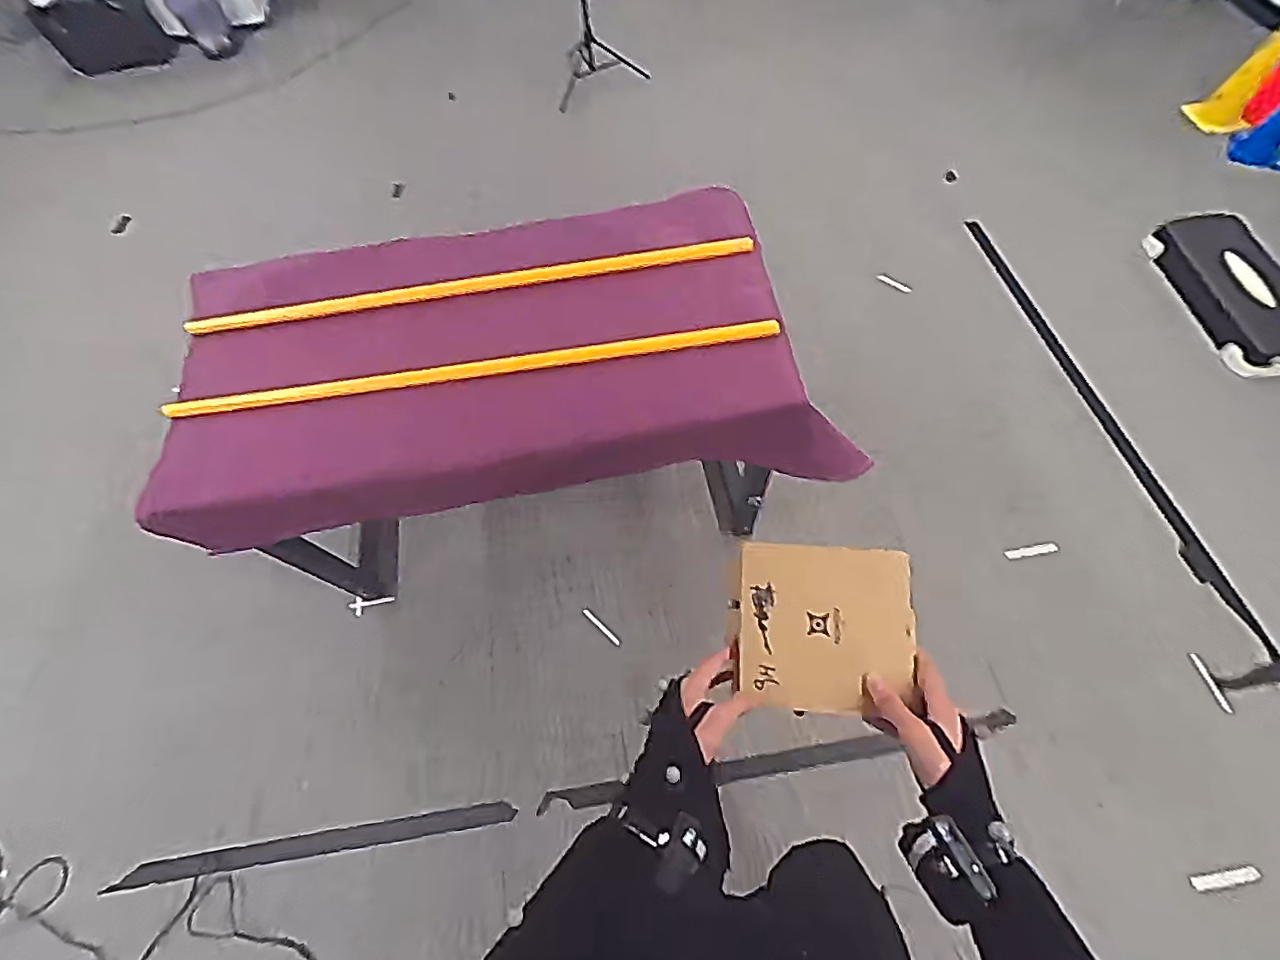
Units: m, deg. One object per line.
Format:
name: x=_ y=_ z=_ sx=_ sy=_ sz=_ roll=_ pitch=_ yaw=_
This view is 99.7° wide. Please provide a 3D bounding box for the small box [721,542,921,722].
small box: x=0.193 y=0.171 z=0.622 sx=0.179 sy=0.176 sz=0.168 roll=3 pitch=73 yaw=3
